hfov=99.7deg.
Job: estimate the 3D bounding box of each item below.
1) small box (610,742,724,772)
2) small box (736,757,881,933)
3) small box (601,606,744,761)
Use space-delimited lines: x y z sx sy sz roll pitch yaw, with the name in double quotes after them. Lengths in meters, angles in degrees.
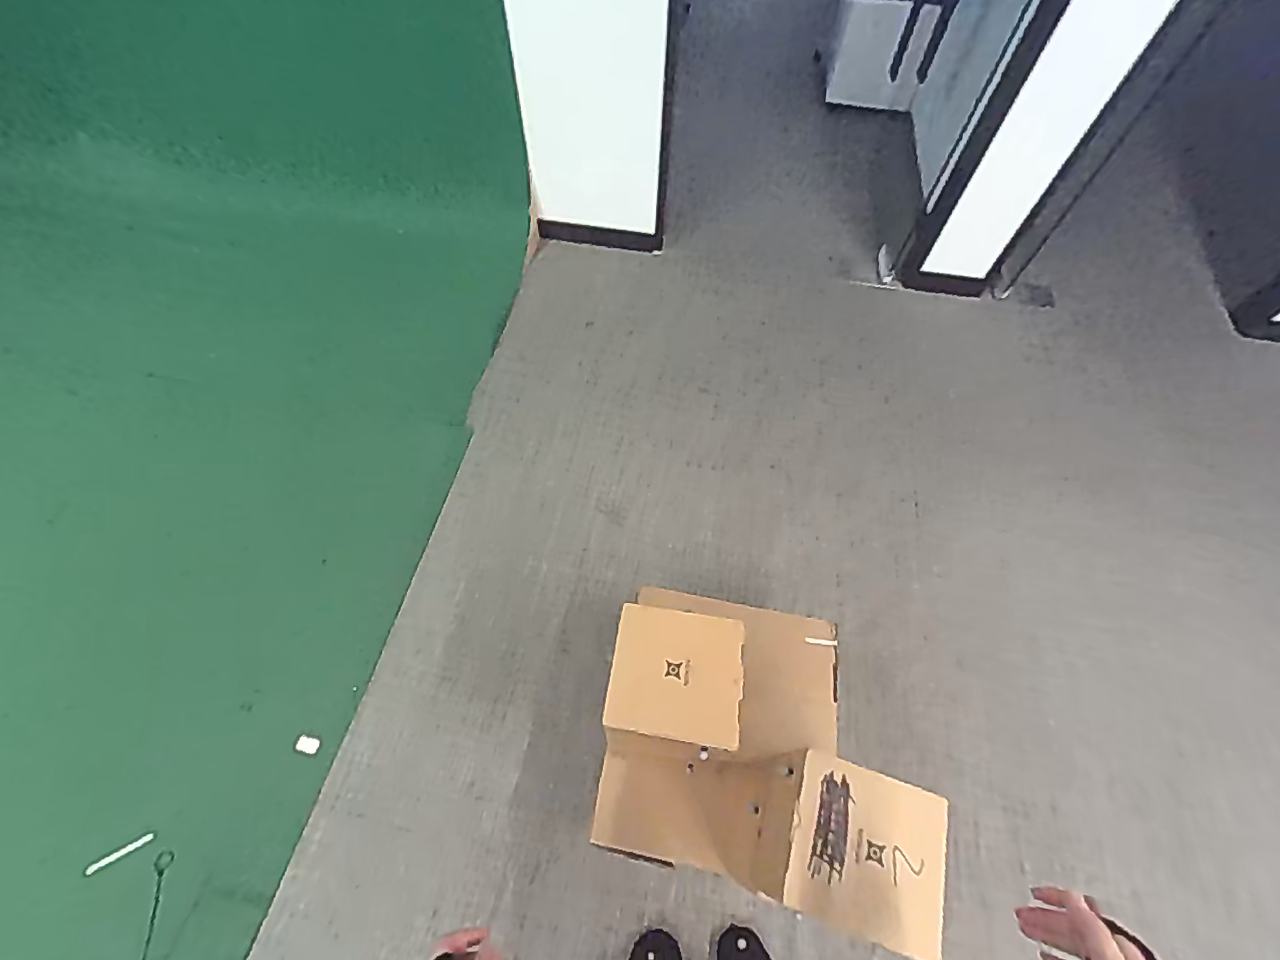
0.049 0.392 0.924 0.179 0.176 0.168 7 57 4 "small box"
0.252 0.550 0.829 0.168 0.176 0.179 13 59 6 "small box"
0.047 0.301 0.788 0.179 0.176 0.168 9 57 3 "small box"
